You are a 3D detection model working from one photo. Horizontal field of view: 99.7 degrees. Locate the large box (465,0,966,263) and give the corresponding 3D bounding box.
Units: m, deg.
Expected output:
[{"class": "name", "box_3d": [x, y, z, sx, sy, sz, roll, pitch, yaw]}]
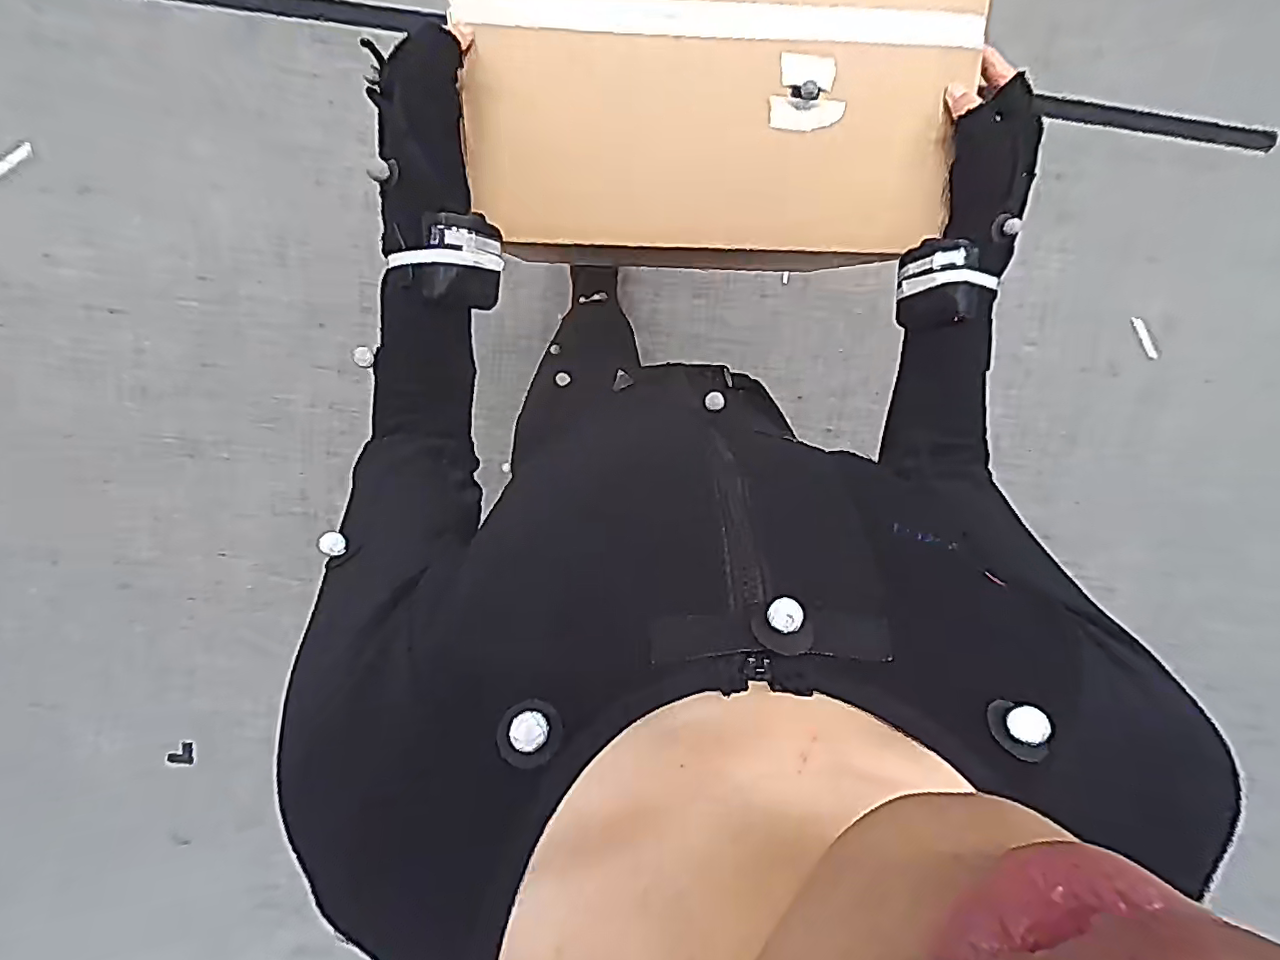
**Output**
[{"class": "large box", "box_3d": [0.051, -0.405, 0.569, 0.408, 0.320, 0.320, 0, 109, -4]}]
